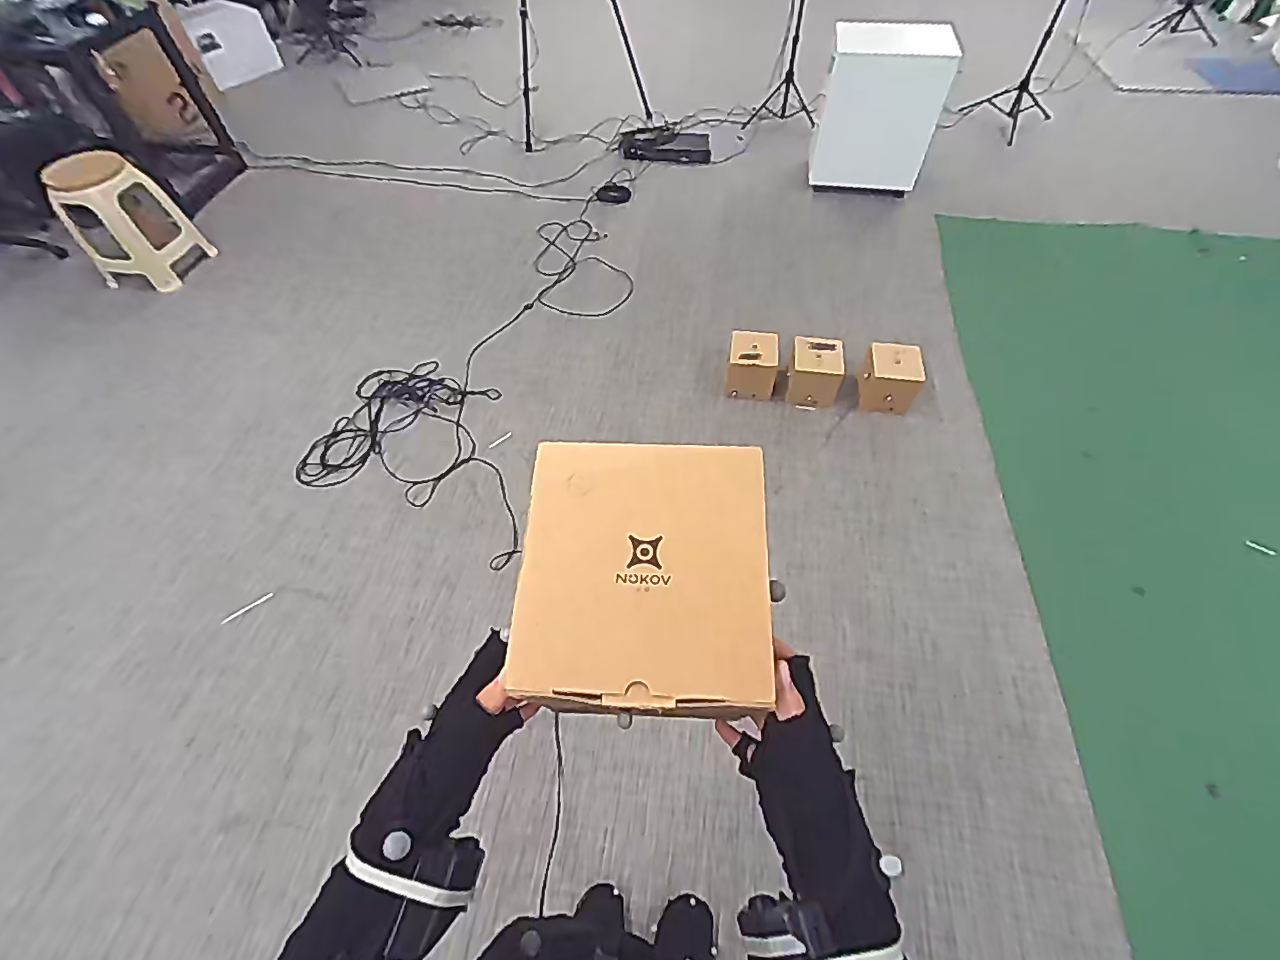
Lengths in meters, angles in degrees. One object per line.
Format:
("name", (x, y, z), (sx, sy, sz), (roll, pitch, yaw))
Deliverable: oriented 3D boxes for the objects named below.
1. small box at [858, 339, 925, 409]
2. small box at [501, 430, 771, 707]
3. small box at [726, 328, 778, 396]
("small box", (0.879, -0.369, 1.904), (0.168, 0.176, 0.179), (7, 56, 6))
("small box", (0.003, 0.078, 0.430), (0.168, 0.176, 0.179), (1, 65, 3))
("small box", (0.404, -0.424, 1.958), (0.168, 0.176, 0.179), (5, 54, 7))
